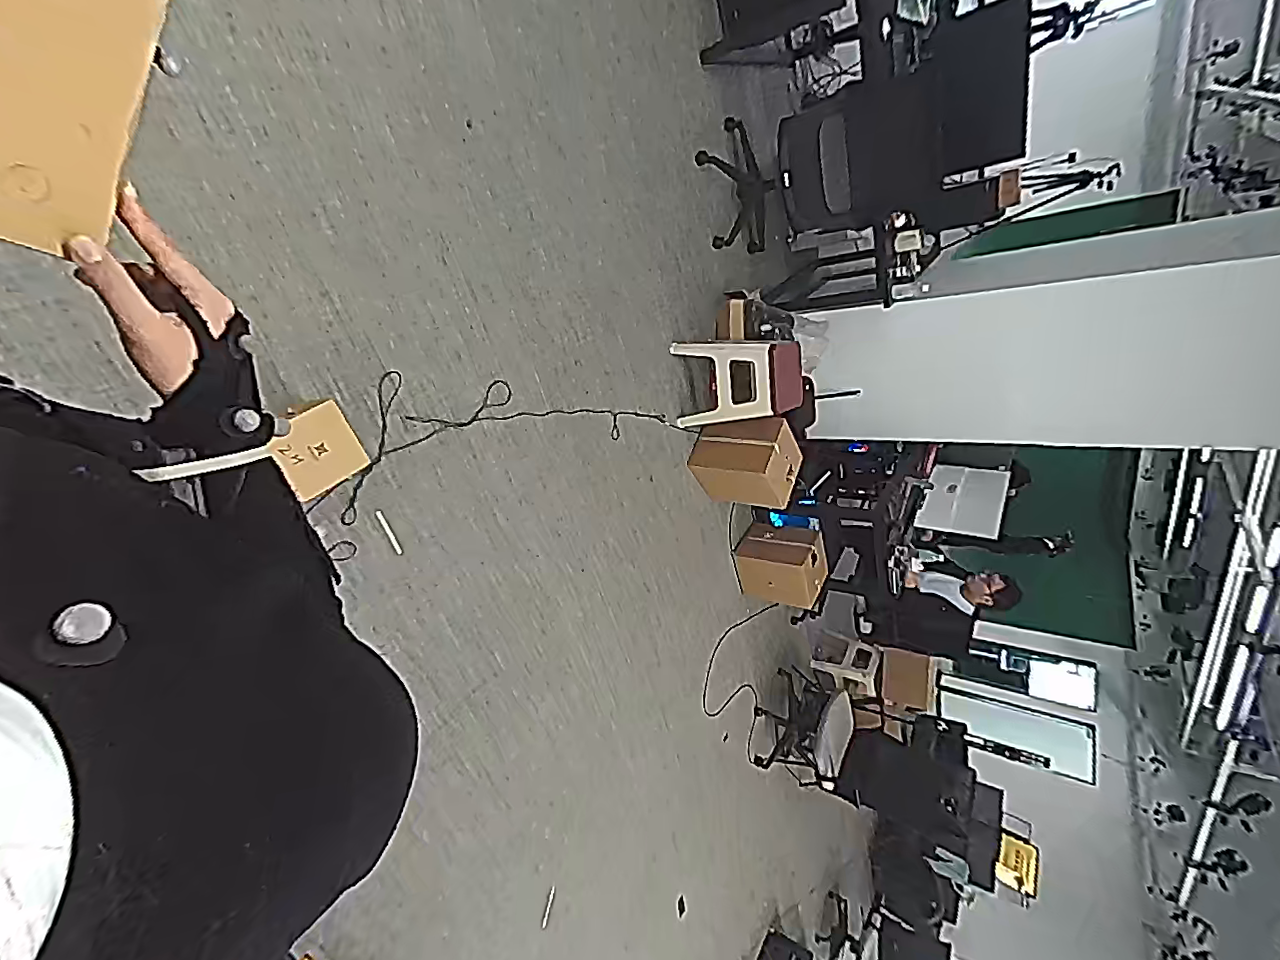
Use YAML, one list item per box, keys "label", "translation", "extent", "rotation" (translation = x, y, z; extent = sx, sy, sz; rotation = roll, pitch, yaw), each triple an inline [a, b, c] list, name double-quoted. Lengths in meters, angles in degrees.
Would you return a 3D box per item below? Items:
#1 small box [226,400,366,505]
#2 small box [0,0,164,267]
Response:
- label: "small box"
  translation: [-0.753, -0.066, 1.186]
  extent: [0.179, 0.176, 0.168]
  rotation: [-44, 126, -40]
- label: "small box"
  translation: [-0.396, -0.240, 0.300]
  extent: [0.168, 0.176, 0.179]
  rotation: [13, 98, -49]
